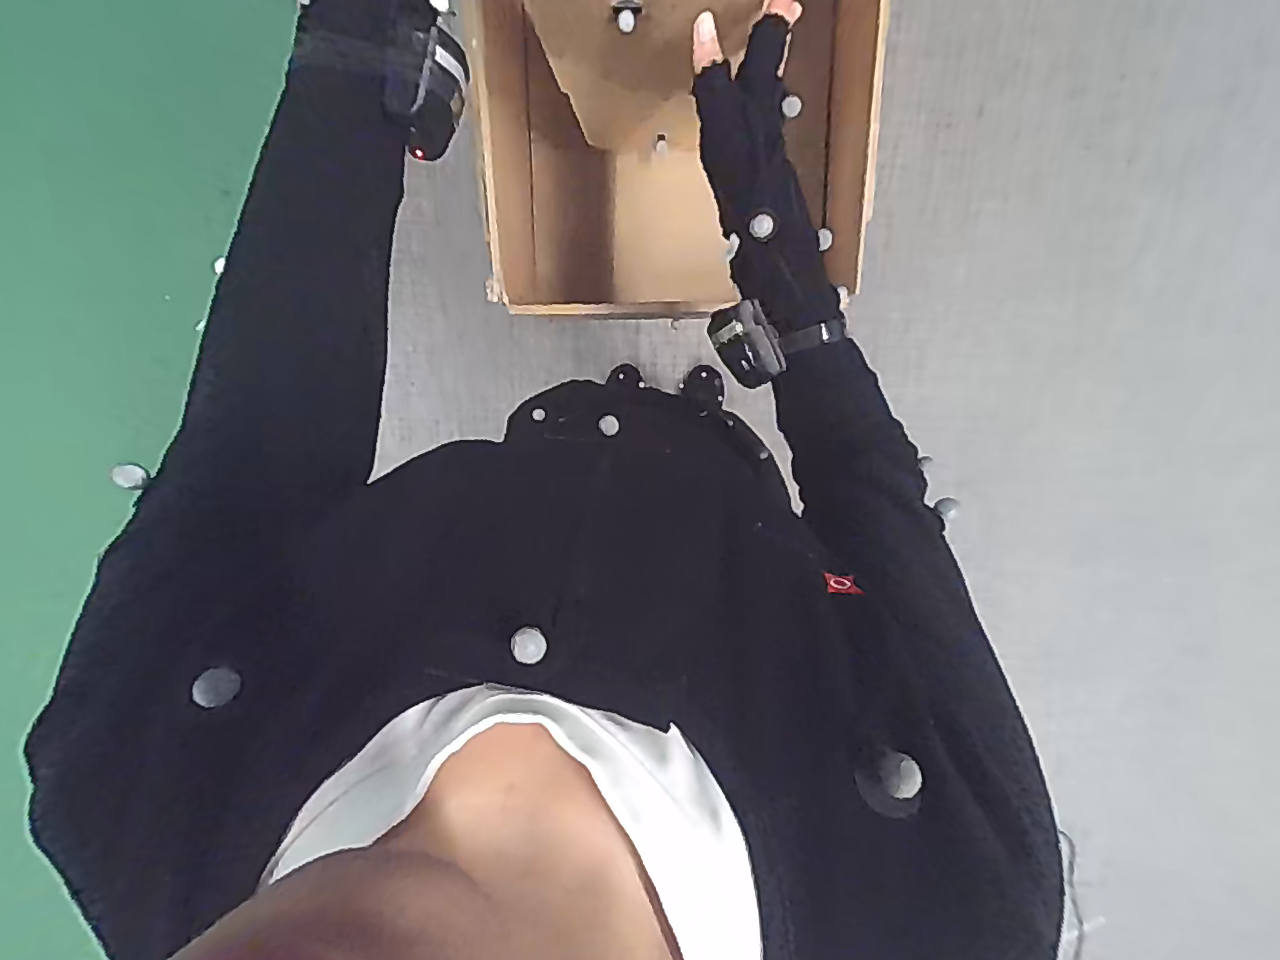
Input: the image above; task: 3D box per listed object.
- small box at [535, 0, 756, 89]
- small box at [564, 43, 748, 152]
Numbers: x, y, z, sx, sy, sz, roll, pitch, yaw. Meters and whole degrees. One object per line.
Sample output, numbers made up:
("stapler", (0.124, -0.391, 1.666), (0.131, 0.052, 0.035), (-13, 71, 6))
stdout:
("small box", (0.006, -0.432, 0.415), (0.179, 0.176, 0.168), (3, 102, 3))
("small box", (0.018, -0.470, 0.574), (0.179, 0.176, 0.168), (0, 101, 4))
